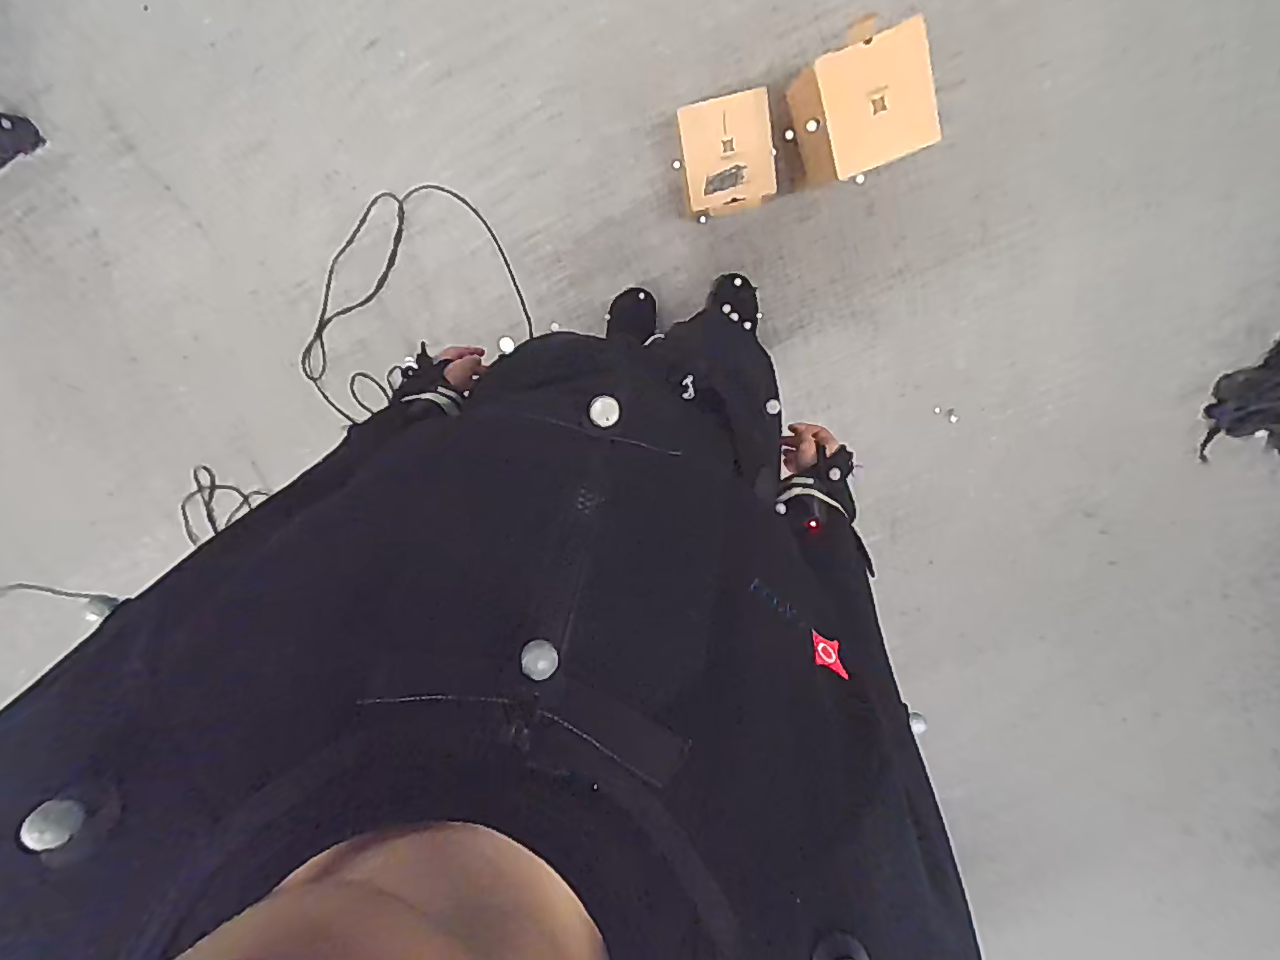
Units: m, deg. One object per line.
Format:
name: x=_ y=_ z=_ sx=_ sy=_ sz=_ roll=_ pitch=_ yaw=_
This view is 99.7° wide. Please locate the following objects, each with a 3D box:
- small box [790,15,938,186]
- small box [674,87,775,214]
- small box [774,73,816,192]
small box: x=0.365 y=-0.611 z=0.903 sx=0.168 sy=0.176 sz=0.179 roll=-19 pitch=110 yaw=8
small box: x=0.162 y=-0.637 z=1.070 sx=0.168 sy=0.176 sz=0.179 roll=-10 pitch=110 yaw=5
small box: x=0.373 y=-0.688 z=1.047 sx=0.168 sy=0.176 sz=0.179 roll=-19 pitch=110 yaw=8
